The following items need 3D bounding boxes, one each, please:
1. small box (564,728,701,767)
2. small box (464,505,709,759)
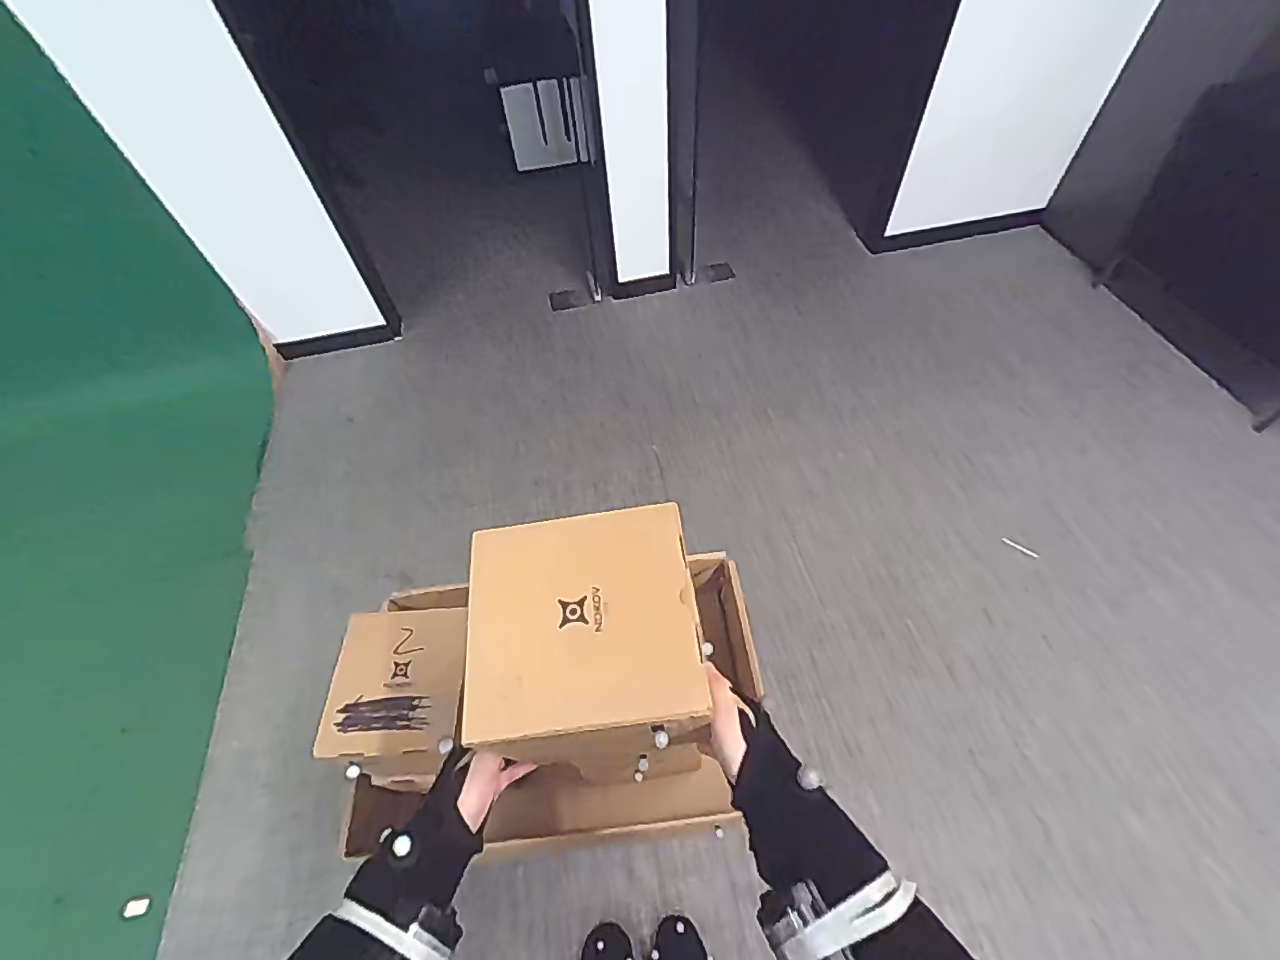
[{"bbox_3d":[-0.014,0.276,0.726,0.168,0.176,0.179,-9,56,-2],"label":"small box"},{"bbox_3d":[-0.037,0.143,0.482,0.179,0.176,0.168,-8,58,1],"label":"small box"}]
